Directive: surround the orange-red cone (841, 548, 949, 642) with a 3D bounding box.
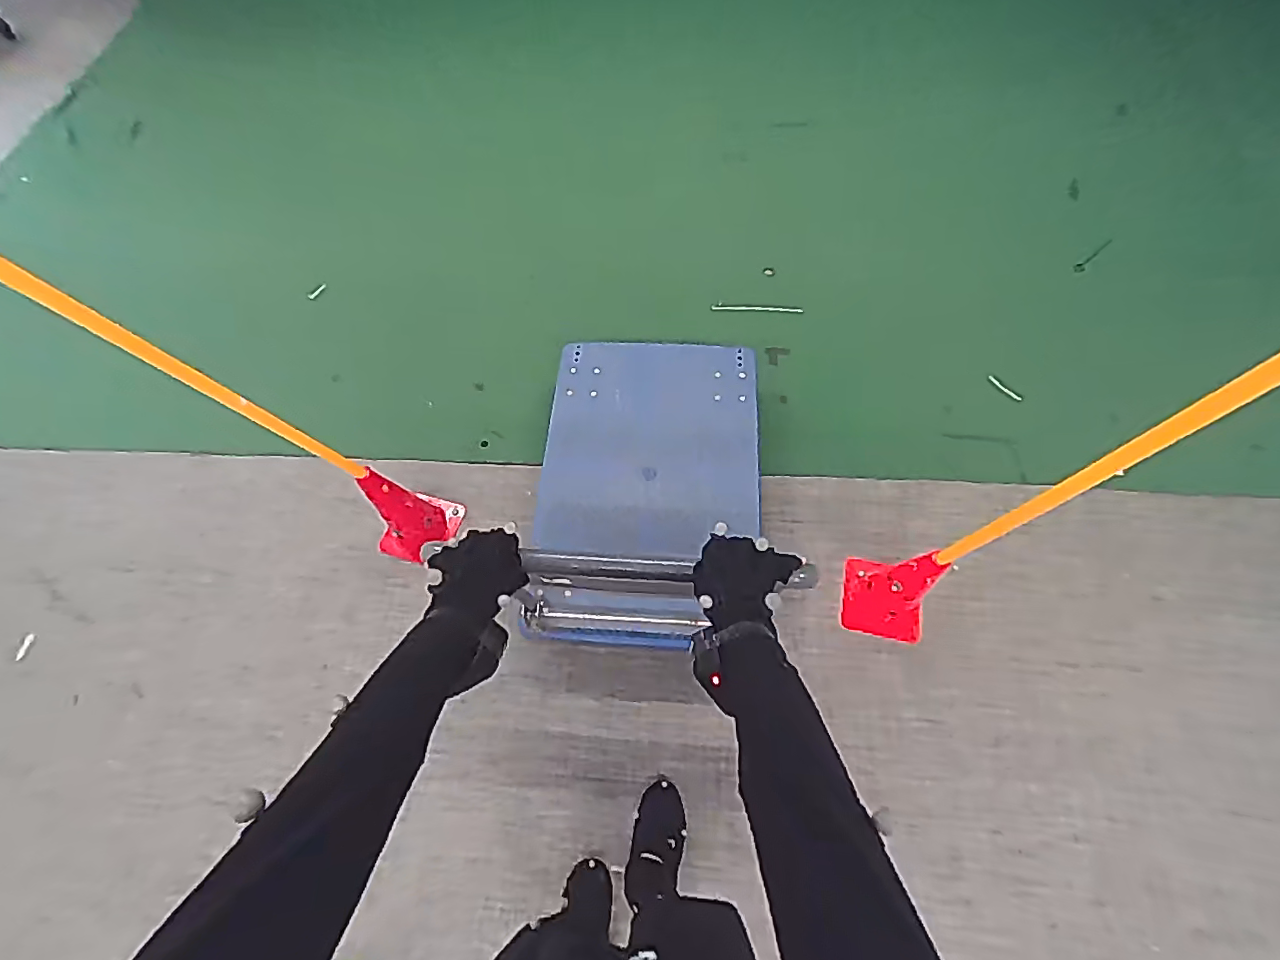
[{"bbox_3d":[0.633,0.237,1.277,0.198,0.360,0.199,12,66,9],"label":"orange-red cone"}]
